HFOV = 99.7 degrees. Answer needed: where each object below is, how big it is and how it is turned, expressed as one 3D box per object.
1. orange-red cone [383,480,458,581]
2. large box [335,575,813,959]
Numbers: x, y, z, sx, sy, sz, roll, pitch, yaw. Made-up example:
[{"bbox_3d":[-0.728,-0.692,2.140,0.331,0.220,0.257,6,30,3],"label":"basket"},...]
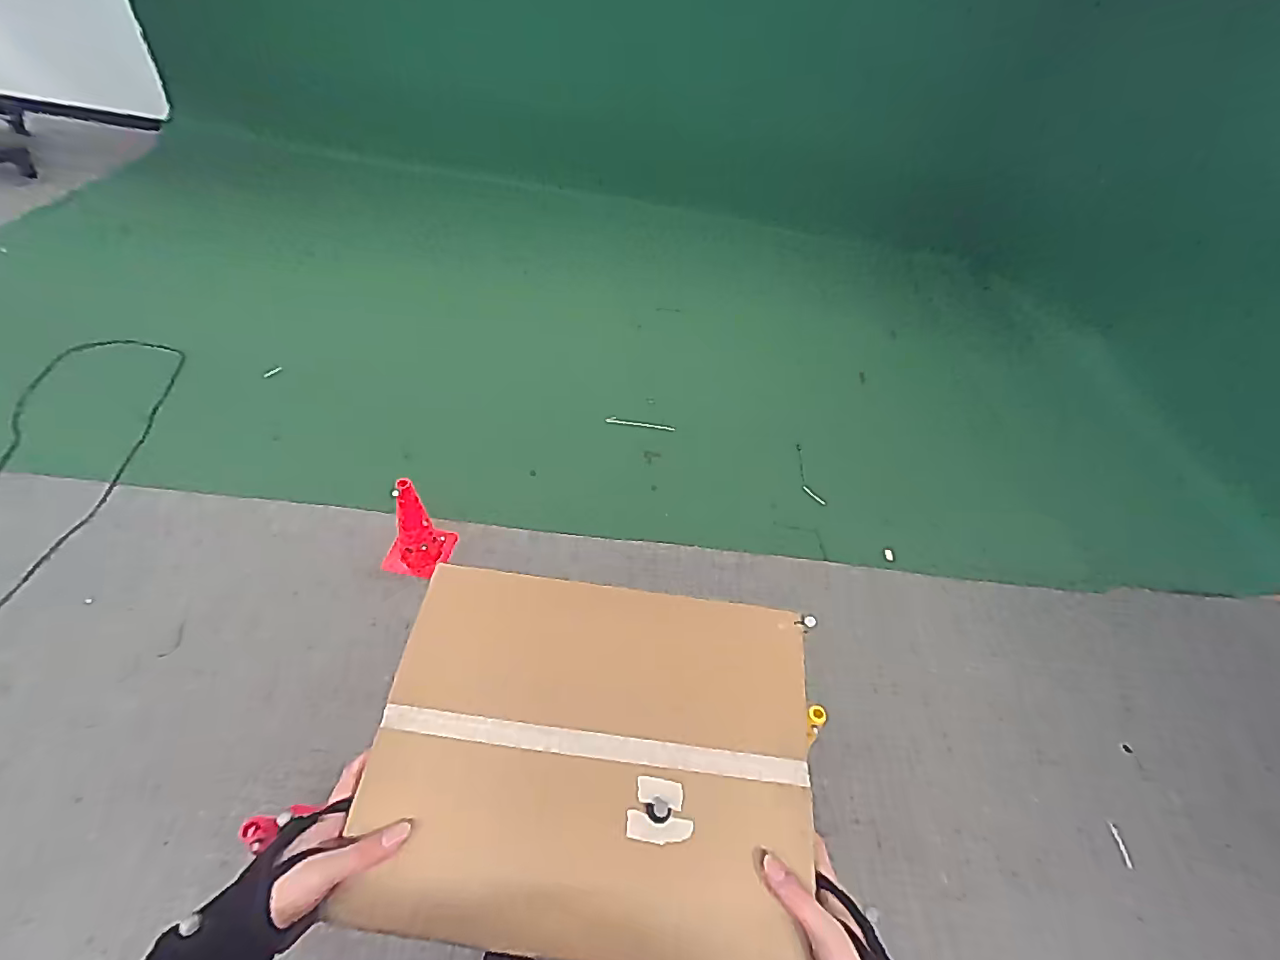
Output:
[{"bbox_3d":[-0.728,0.134,1.727,0.199,0.360,0.198,11,46,2],"label":"orange-red cone"},{"bbox_3d":[-0.049,0.333,0.645,0.408,0.320,0.320,7,58,1],"label":"large box"}]
